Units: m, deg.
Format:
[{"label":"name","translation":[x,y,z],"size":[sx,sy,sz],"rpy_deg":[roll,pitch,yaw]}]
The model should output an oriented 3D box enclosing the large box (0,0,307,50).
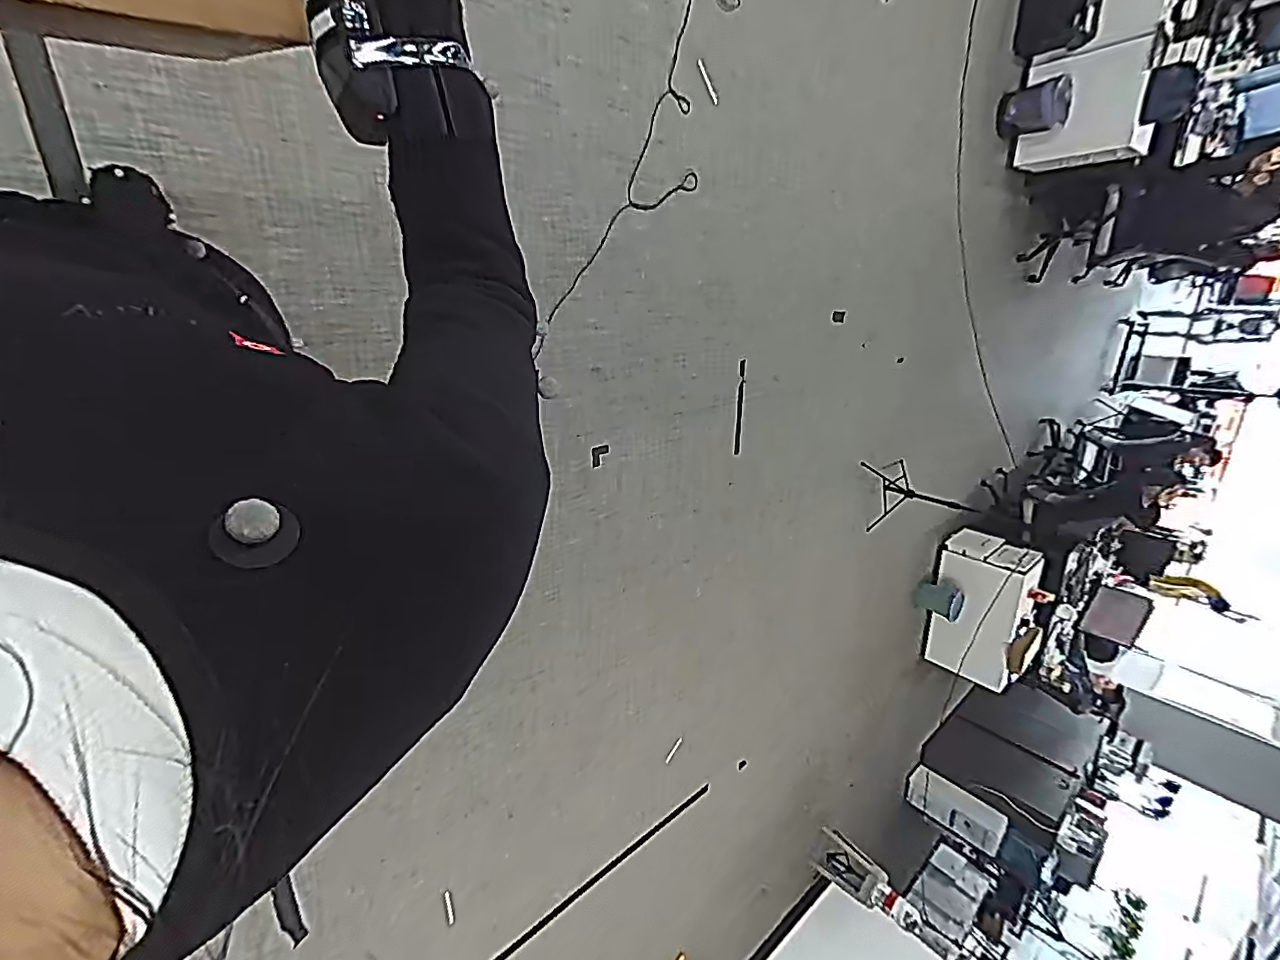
[{"label":"large box","translation":[-0.436,-0.403,0.222],"size":[0.408,0.320,0.320],"rpy_deg":[-22,132,-36]}]
